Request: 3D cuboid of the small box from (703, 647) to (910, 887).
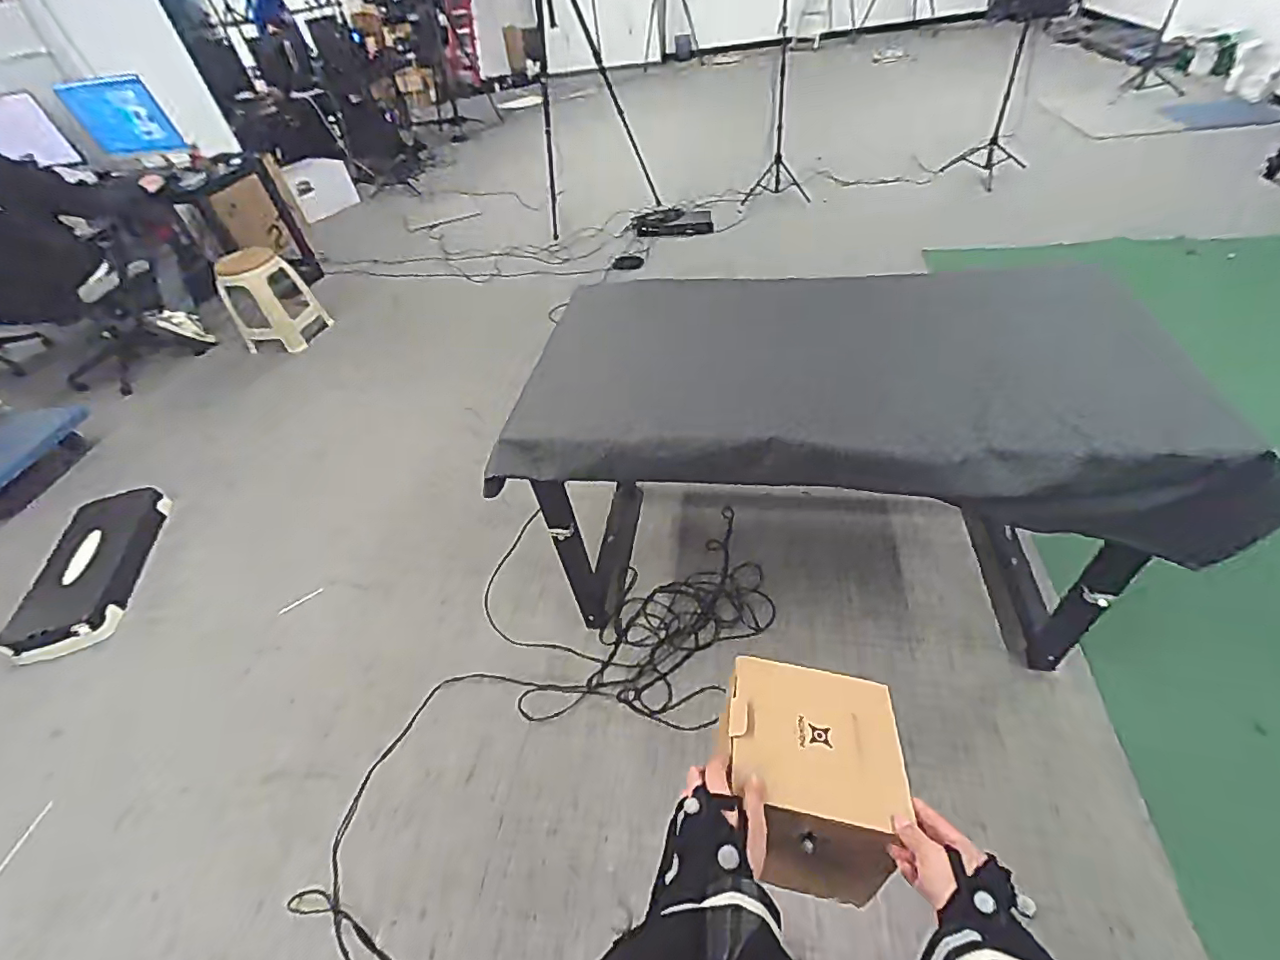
[{"bbox_3d":[0.171,0.321,0.610,0.179,0.176,0.168,10,35,6],"label":"small box"}]
